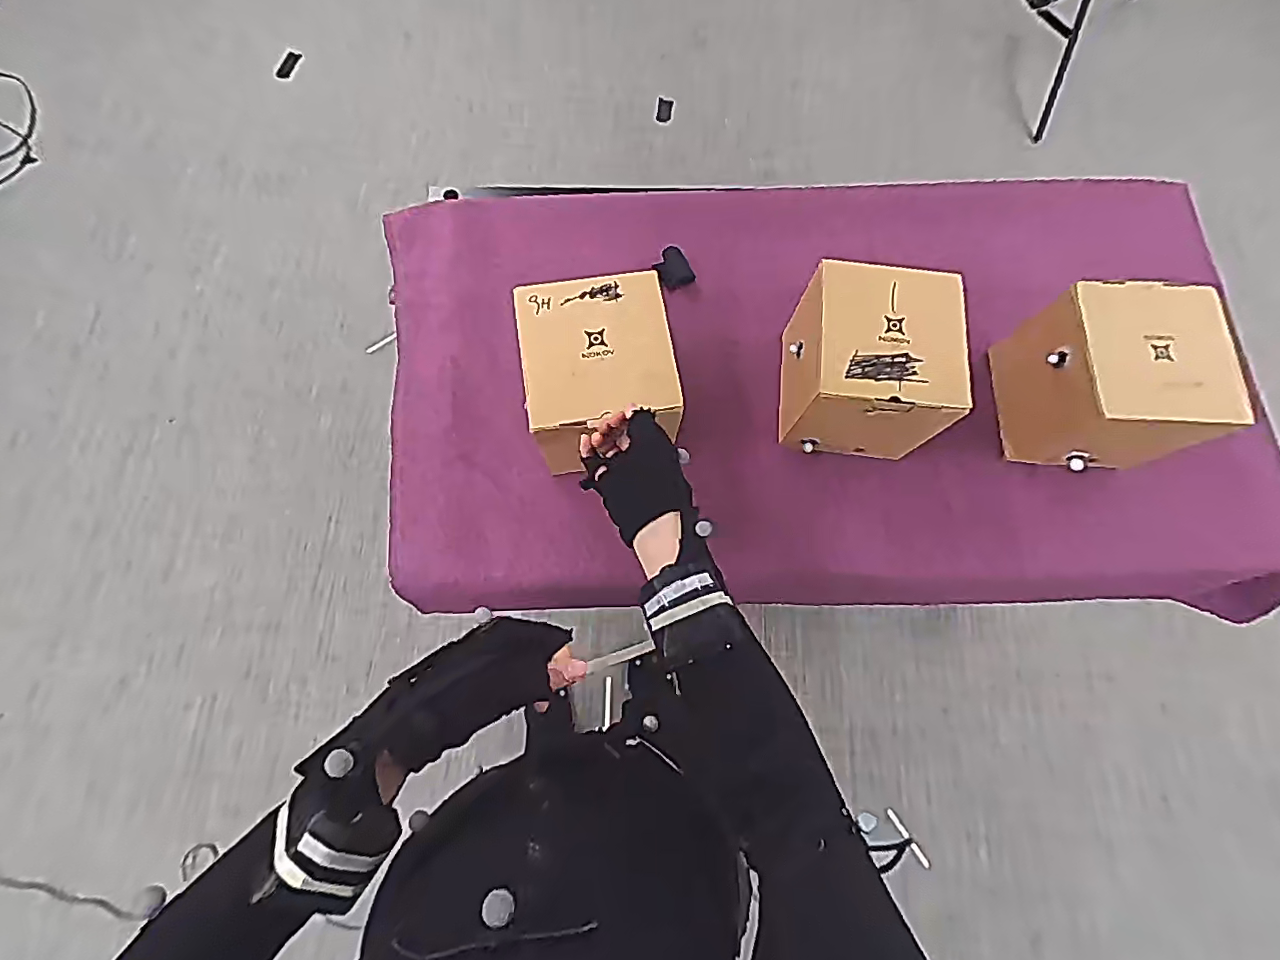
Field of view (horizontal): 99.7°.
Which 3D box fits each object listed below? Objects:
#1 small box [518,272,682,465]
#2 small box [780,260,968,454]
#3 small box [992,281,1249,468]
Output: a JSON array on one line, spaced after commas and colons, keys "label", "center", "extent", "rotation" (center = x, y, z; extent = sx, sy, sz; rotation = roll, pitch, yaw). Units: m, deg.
[{"label": "small box", "center": [-0.048, -0.125, 0.669], "extent": [0.168, 0.176, 0.179], "rotation": [-8, 75, -4]}, {"label": "small box", "center": [0.282, -0.144, 0.684], "extent": [0.168, 0.176, 0.179], "rotation": [7, 73, 0]}, {"label": "small box", "center": [0.584, -0.126, 0.688], "extent": [0.168, 0.176, 0.179], "rotation": [2, 74, 1]}]
